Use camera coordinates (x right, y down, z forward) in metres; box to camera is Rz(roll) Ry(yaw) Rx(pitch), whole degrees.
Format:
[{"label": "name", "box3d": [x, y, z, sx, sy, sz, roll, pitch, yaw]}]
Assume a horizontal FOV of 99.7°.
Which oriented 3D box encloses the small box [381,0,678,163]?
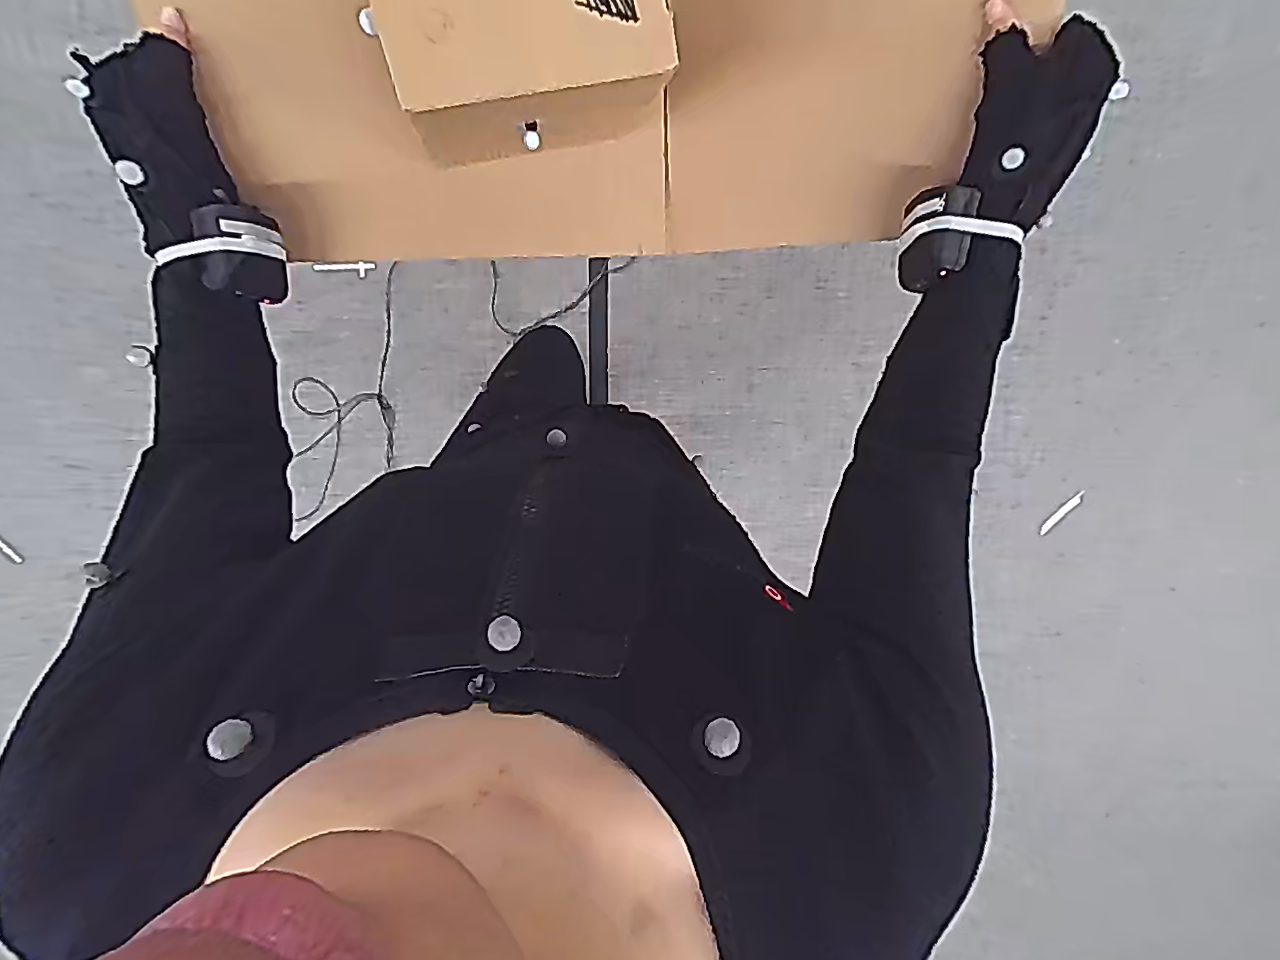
[{"label": "small box", "box3d": [-0.089, -0.346, 0.386, 0.179, 0.176, 0.168, -15, 111, -8]}]
